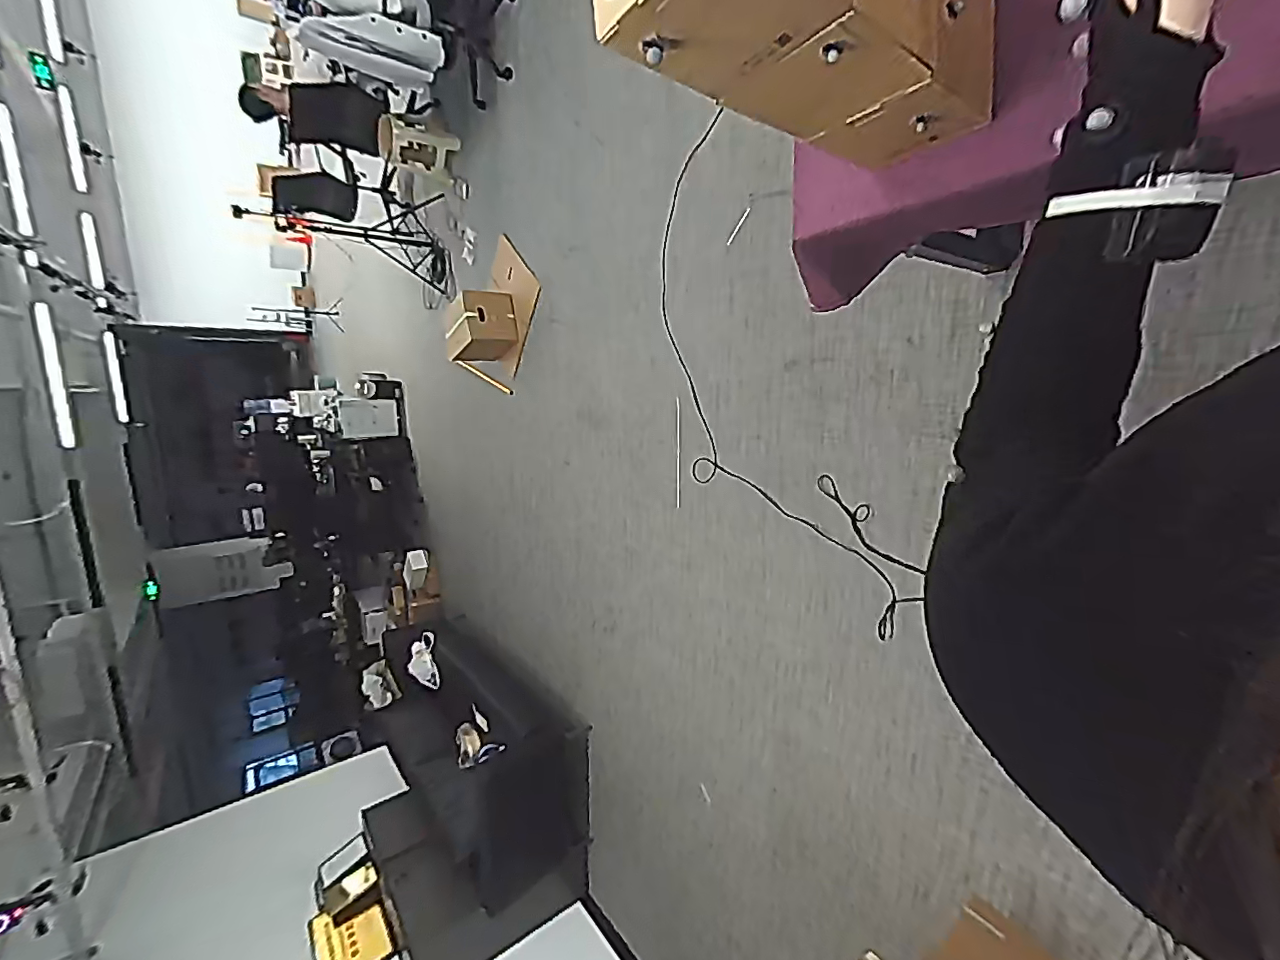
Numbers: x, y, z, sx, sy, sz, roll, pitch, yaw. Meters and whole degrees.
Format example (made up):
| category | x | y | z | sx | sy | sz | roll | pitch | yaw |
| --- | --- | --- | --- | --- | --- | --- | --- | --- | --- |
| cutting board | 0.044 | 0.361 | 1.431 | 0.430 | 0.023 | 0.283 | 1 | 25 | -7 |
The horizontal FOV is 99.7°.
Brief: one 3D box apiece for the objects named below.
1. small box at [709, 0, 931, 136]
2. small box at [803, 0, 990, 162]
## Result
| category | x | y | z | sx | sy | sz | roll | pitch | yaw |
| --- | --- | --- | --- | --- | --- | --- | --- | --- | --- |
| small box | 0.197 | -0.519 | 0.599 | 0.179 | 0.176 | 0.168 | 3 | 99 | 51 |
| small box | 0.327 | -0.537 | 0.695 | 0.168 | 0.176 | 0.179 | 7 | 101 | 51 |
